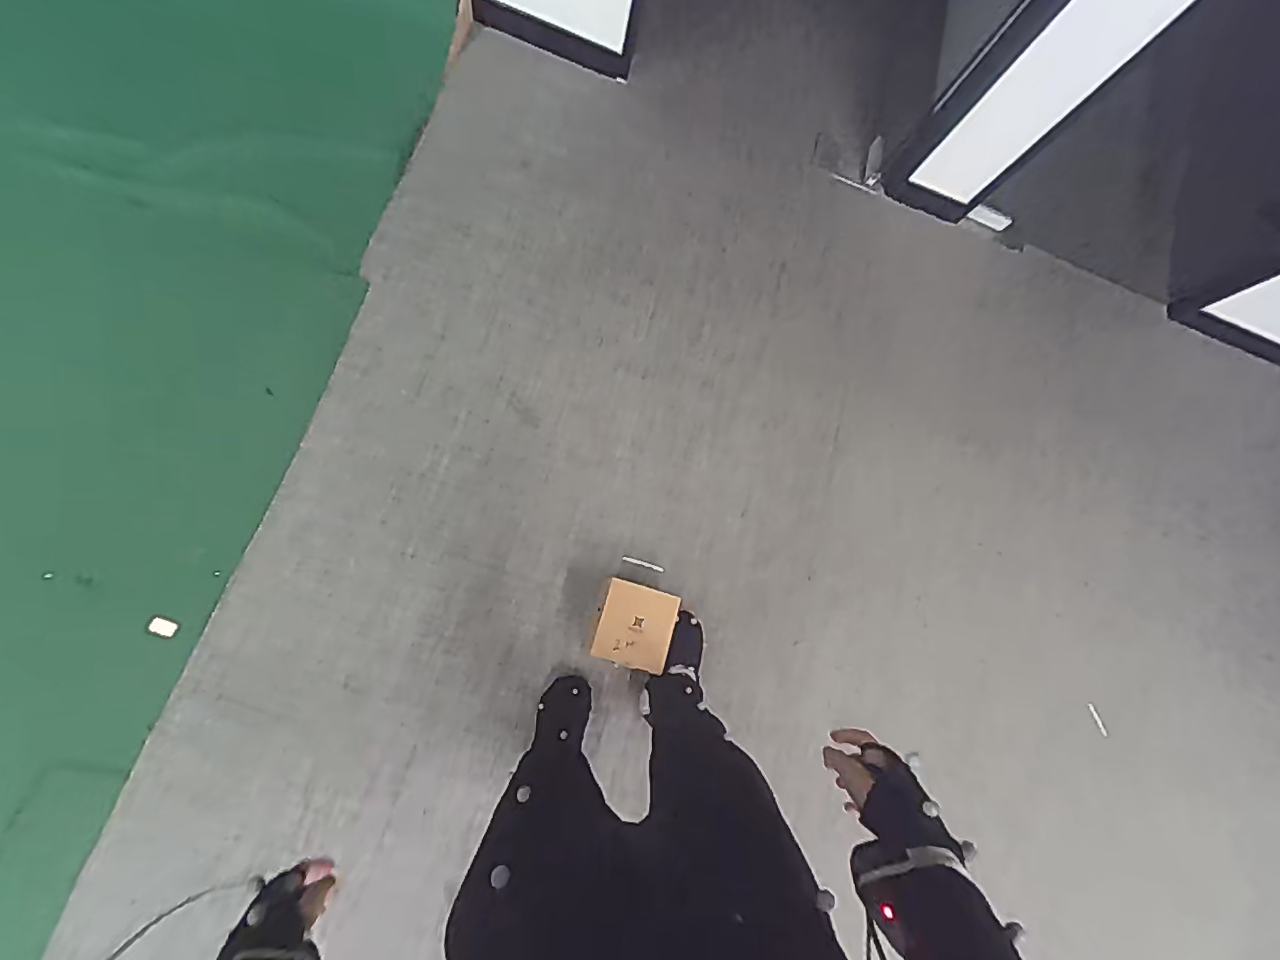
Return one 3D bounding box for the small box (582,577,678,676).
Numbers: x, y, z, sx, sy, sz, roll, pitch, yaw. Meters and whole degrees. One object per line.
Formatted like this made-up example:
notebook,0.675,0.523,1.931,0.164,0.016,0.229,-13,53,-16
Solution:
small box,-0.030,0.334,1.253,0.168,0.176,0.179,19,75,-7
